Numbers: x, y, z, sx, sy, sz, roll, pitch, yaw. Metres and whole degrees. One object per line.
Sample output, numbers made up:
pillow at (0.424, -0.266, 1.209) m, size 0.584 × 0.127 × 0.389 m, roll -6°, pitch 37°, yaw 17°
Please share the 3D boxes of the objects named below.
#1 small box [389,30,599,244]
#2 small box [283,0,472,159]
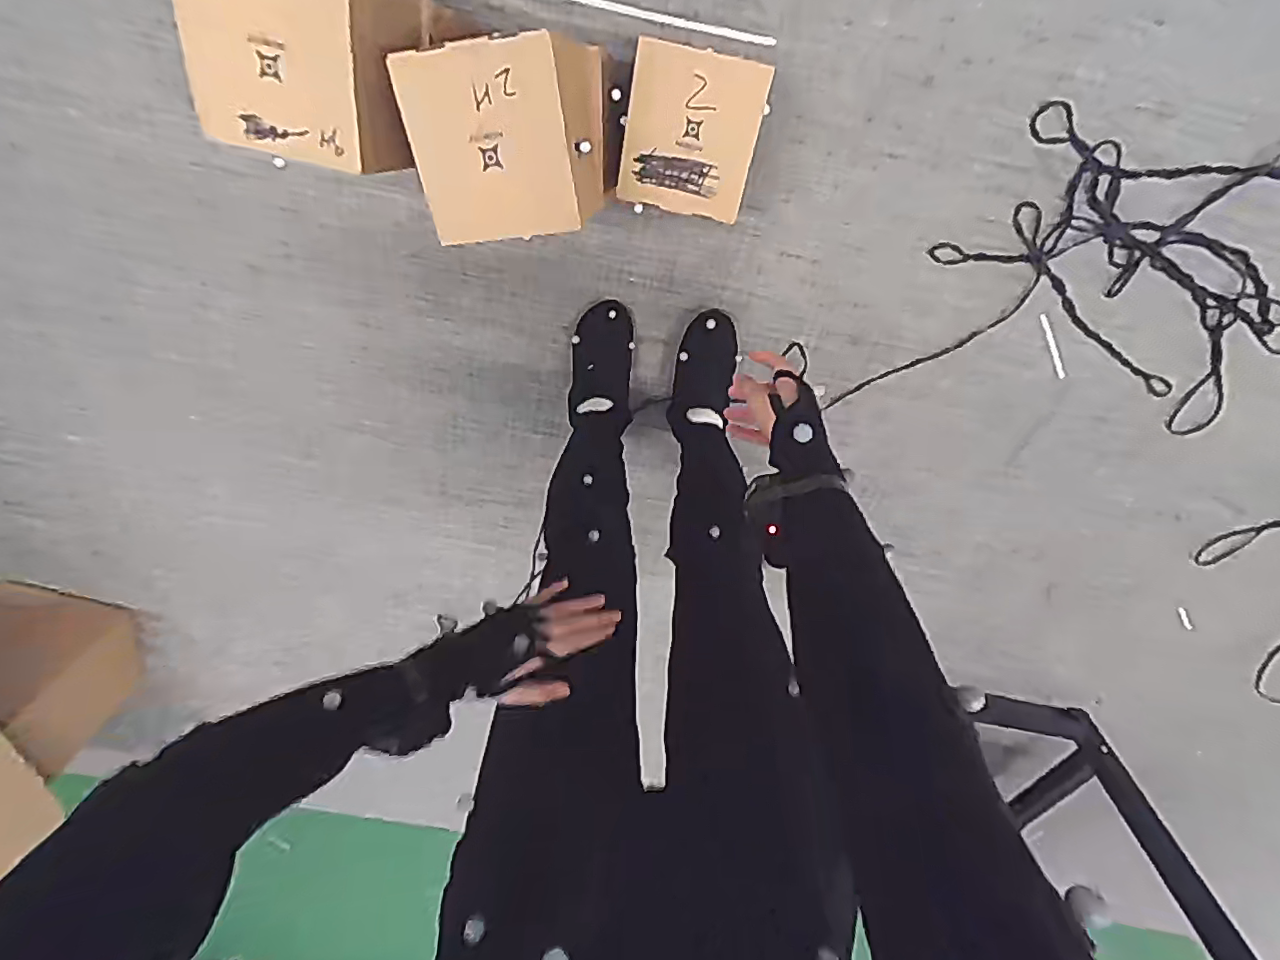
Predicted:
small box at (-0.147, -0.386, 0.622) m, size 0.168 × 0.176 × 0.179 m, roll -3°, pitch 122°, yaw 7°
small box at (-0.335, -0.544, 0.726) m, size 0.179 × 0.176 × 0.168 m, roll 11°, pitch 123°, yaw -3°
